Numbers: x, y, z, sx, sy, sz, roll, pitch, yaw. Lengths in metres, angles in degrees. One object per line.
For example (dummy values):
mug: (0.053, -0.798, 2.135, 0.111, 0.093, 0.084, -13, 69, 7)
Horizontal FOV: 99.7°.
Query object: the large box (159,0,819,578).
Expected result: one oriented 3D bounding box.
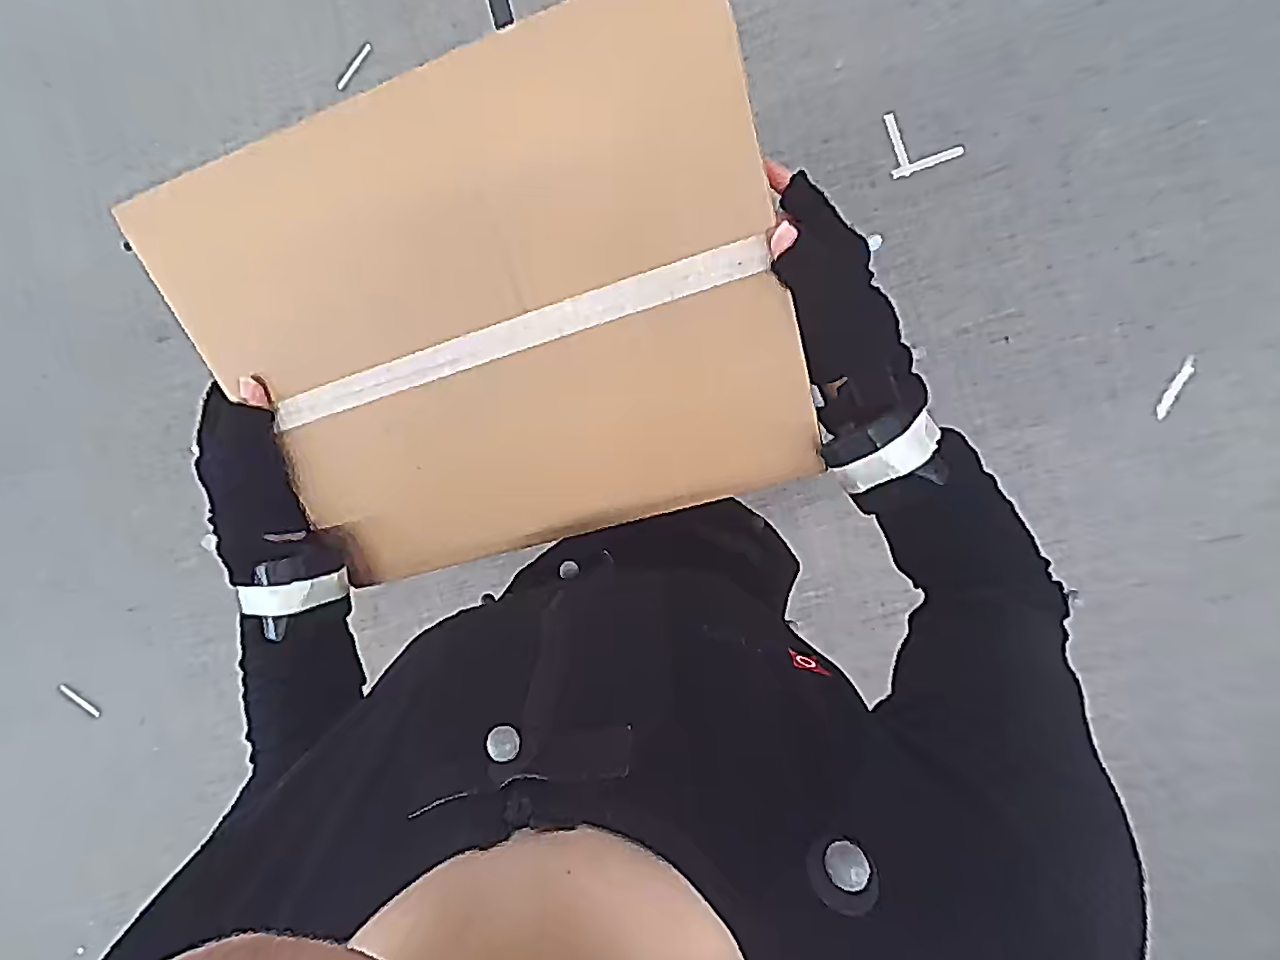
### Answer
large box: (-0.089, -0.156, 0.519, 0.408, 0.320, 0.320, -15, 113, 12)
